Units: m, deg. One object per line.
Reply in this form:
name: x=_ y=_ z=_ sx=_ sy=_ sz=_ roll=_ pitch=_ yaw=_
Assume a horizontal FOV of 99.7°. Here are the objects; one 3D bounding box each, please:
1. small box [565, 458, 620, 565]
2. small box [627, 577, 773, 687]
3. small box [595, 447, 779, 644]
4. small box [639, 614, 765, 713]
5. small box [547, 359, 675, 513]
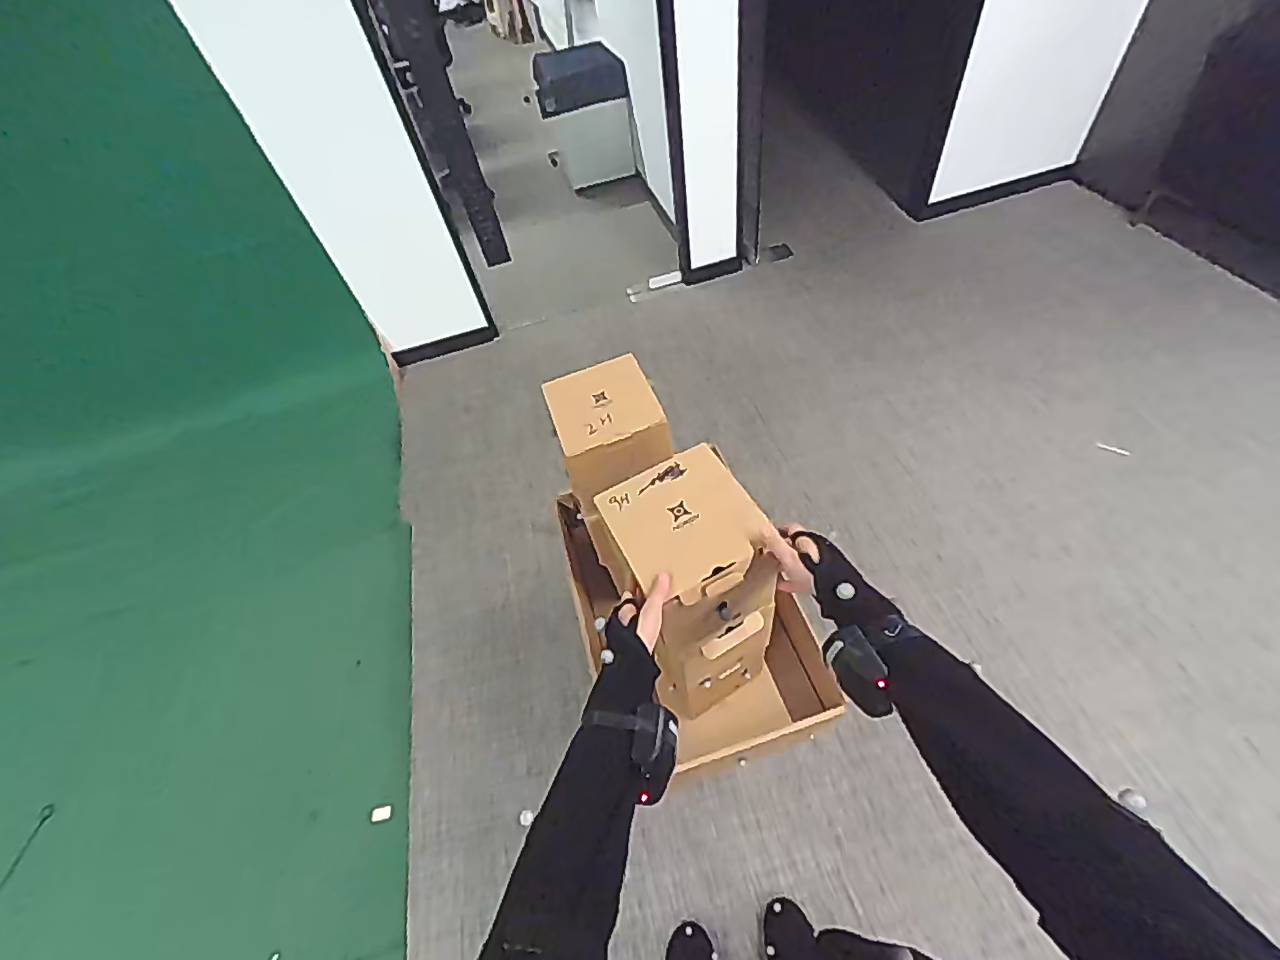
small box: x=-0.025 y=0.037 z=1.053 sx=0.179 sy=0.176 sz=0.168 roll=-22 pitch=53 yaw=-6
small box: x=0.099 y=0.218 z=0.893 sx=0.168 sy=0.176 sz=0.179 roll=-28 pitch=52 yaw=-13
small box: x=0.062 y=0.095 z=0.710 sx=0.168 sy=0.176 sz=0.179 roll=-26 pitch=56 yaw=-8
small box: x=0.118 y=0.316 z=1.023 sx=0.168 sy=0.176 sz=0.179 roll=-28 pitch=53 yaw=-12
small box: x=-0.046 y=-0.072 z=0.930 sx=0.168 sy=0.176 sz=0.179 roll=-20 pitch=53 yaw=-4
